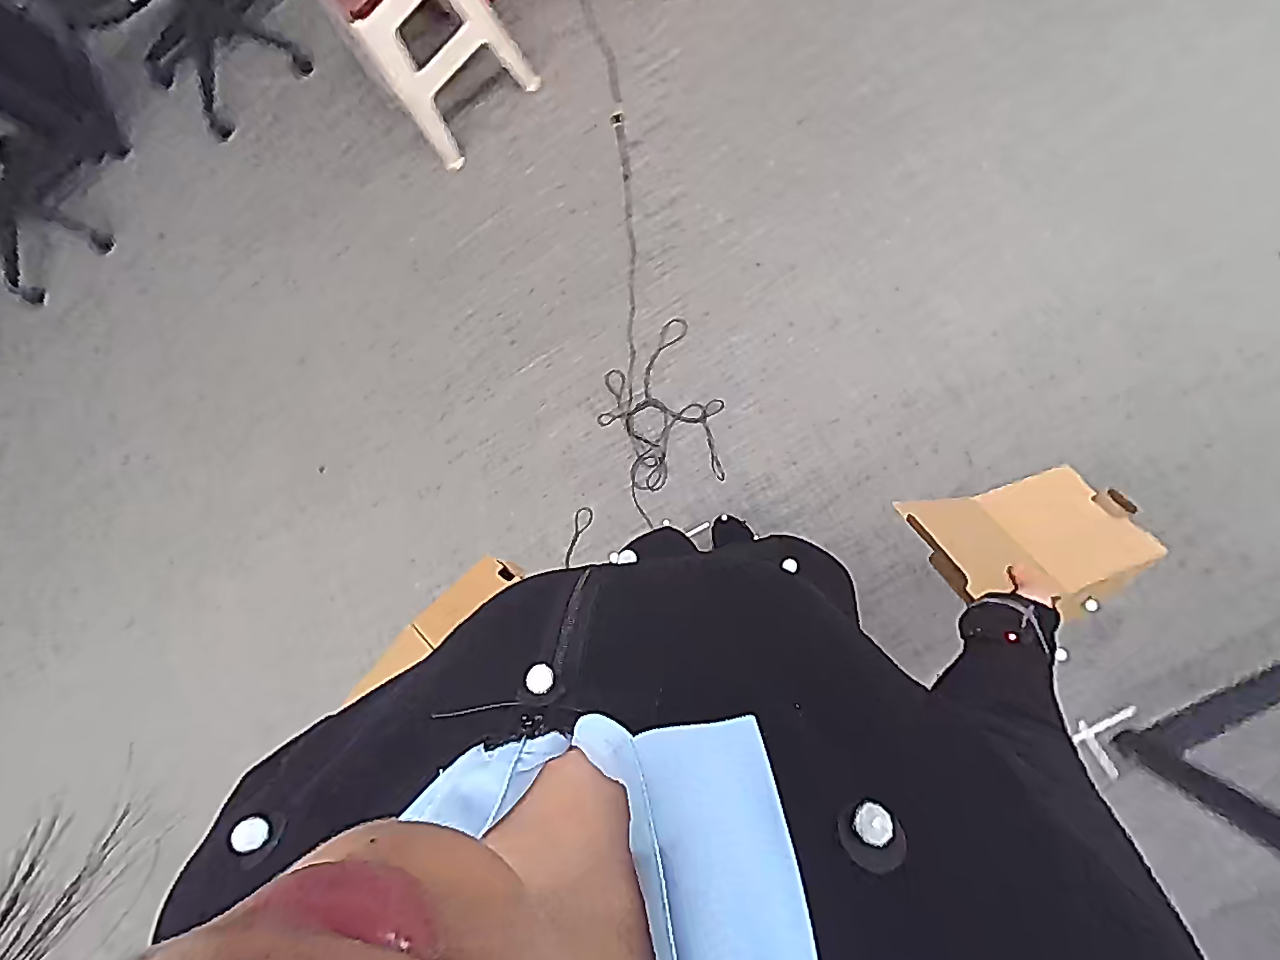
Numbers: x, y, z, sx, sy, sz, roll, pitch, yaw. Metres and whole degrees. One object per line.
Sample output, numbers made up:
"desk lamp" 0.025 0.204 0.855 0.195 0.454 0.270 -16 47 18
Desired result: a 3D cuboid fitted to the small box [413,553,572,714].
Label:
"small box" -0.249 0.265 0.937 0.179 0.176 0.168 -43 40 -23
